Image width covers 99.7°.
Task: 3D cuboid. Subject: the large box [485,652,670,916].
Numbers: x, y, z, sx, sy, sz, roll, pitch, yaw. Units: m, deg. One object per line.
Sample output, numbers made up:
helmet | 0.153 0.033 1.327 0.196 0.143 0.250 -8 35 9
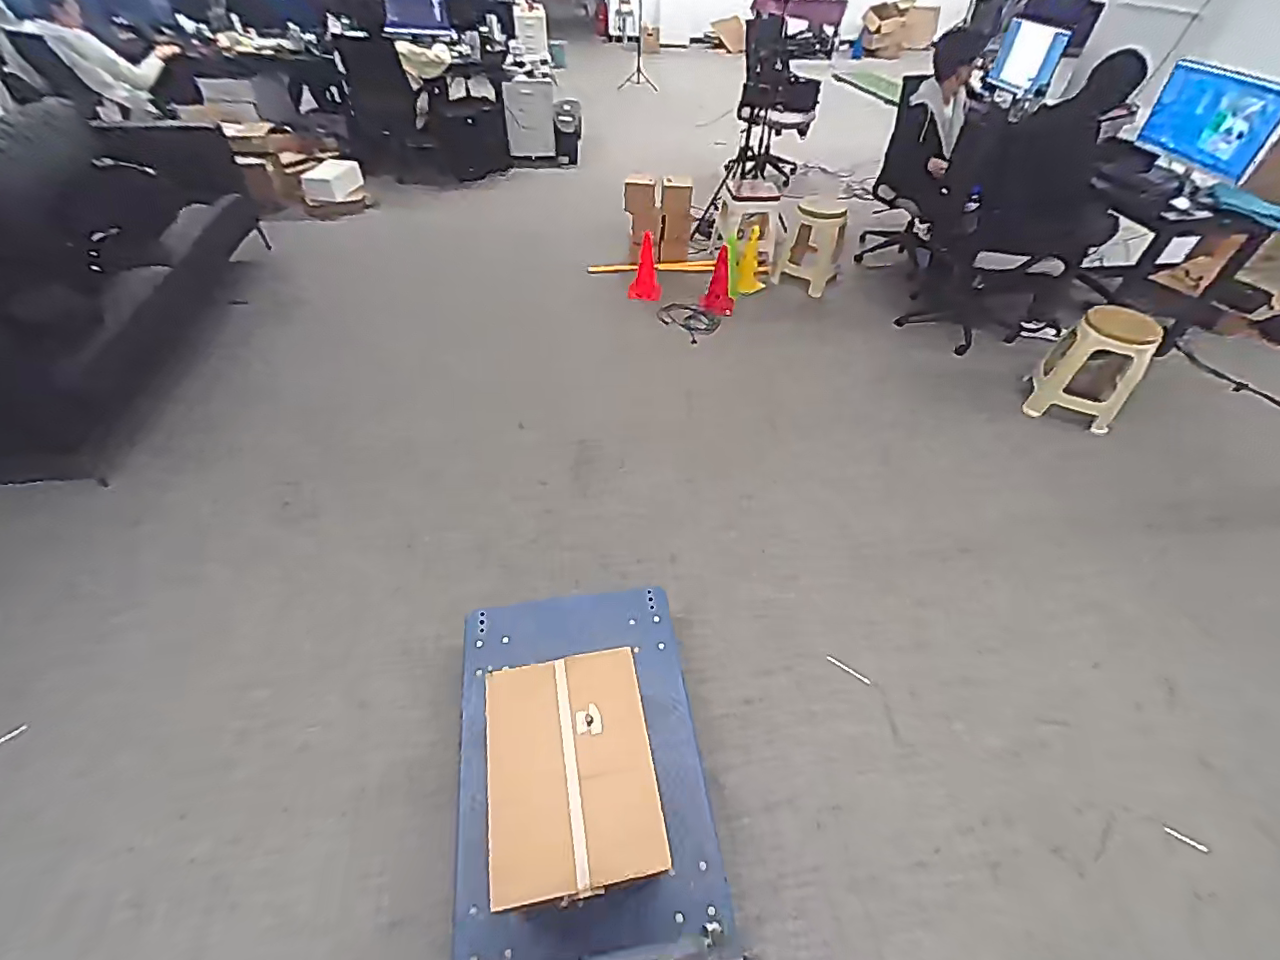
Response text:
large box | -0.137 0.641 1.156 0.320 0.320 0.408 -8 53 -8
